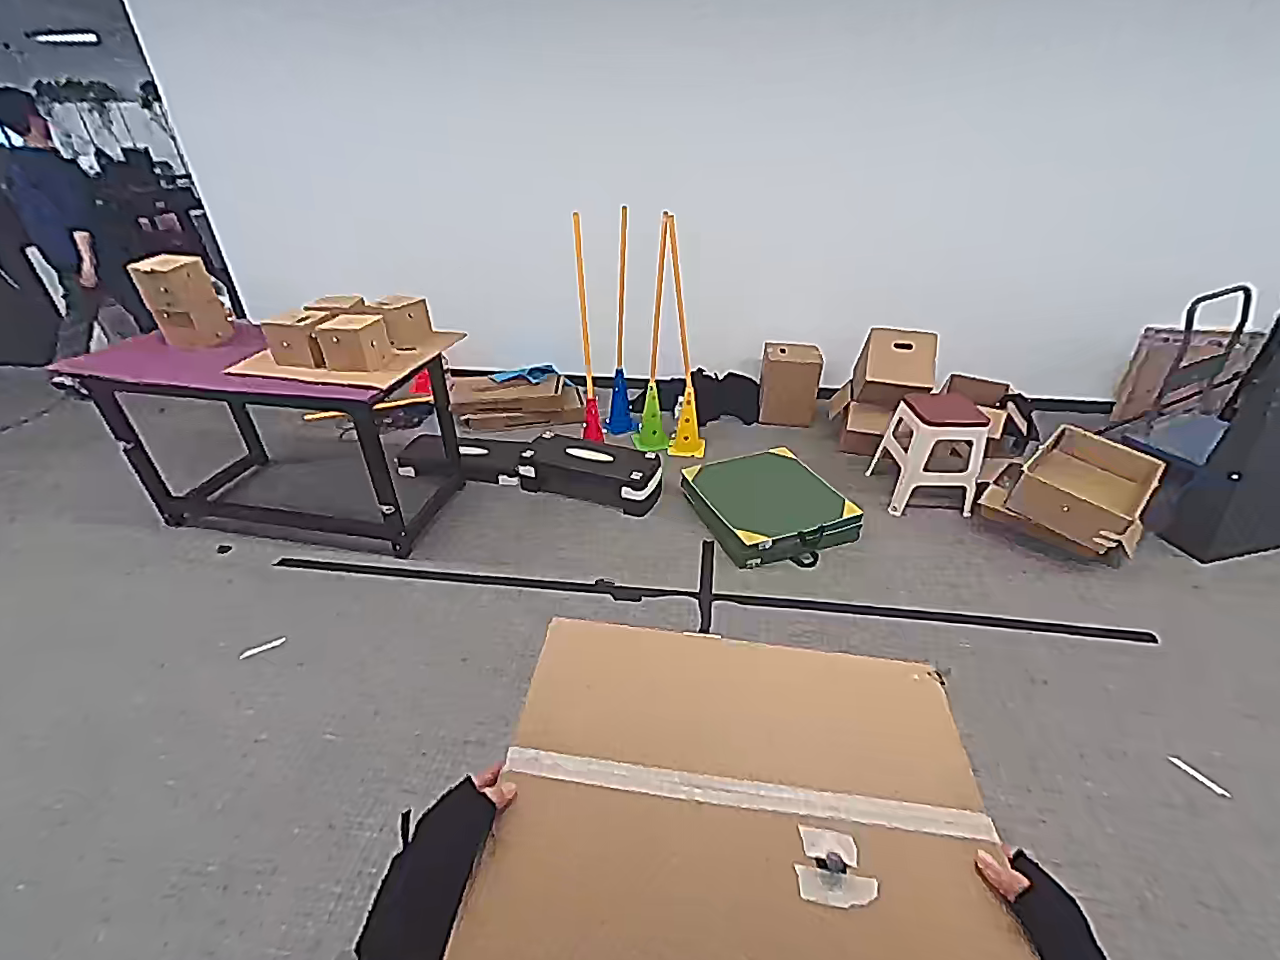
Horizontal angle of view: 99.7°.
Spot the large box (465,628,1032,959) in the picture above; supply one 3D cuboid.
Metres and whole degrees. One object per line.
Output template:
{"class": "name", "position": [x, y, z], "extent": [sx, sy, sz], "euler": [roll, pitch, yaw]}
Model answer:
{"class": "large box", "position": [0.083, 0.390, 0.549], "extent": [0.408, 0.320, 0.320], "euler": [6, 37, 5]}
